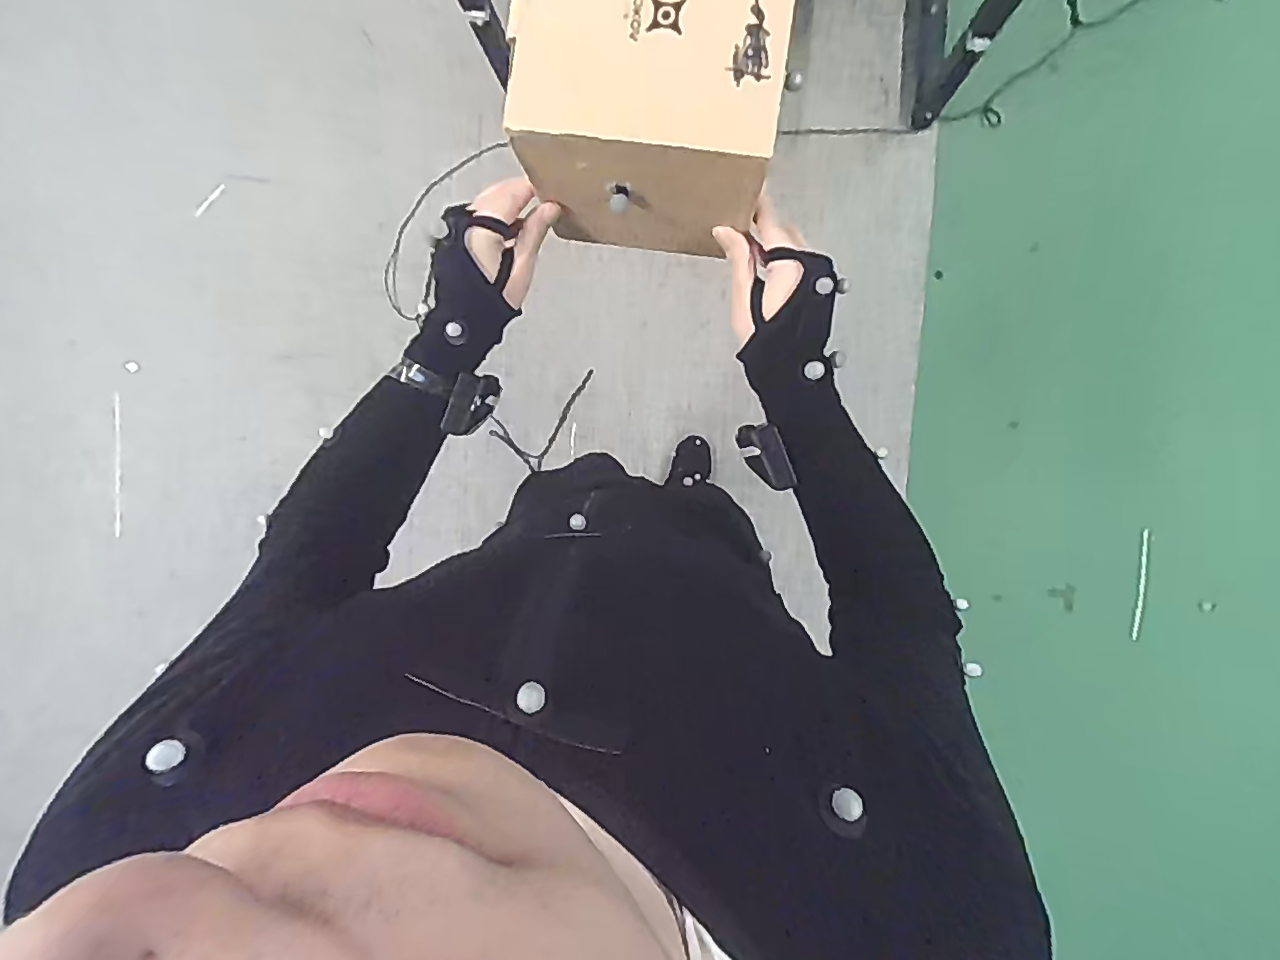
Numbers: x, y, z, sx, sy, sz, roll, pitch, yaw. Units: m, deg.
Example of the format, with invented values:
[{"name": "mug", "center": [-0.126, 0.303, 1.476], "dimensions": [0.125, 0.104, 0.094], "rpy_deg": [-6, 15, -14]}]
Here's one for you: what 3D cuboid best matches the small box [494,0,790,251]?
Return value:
[{"name": "small box", "center": [0.011, -0.292, 0.411], "dimensions": [0.179, 0.176, 0.168], "rpy_deg": [8, 92, 5]}]
